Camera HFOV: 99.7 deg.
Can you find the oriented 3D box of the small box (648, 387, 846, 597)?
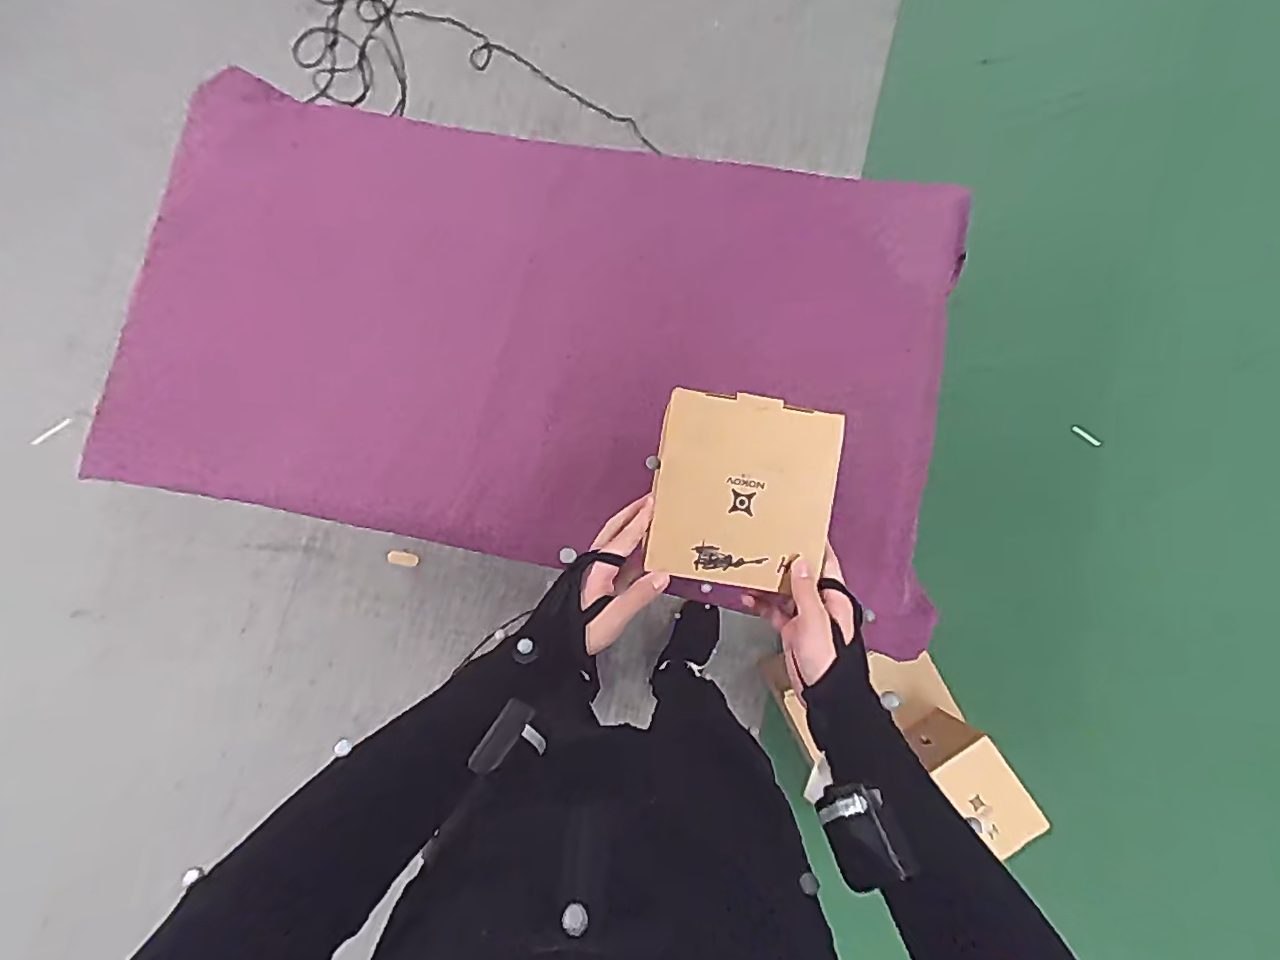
[{"bbox_3d":[0.101,0.012,0.587,0.168,0.176,0.179,10,90,1],"label":"small box"}]

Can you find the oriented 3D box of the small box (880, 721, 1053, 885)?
[{"bbox_3d":[0.576,0.566,0.983,0.168,0.176,0.179,-33,82,-2],"label":"small box"}]
